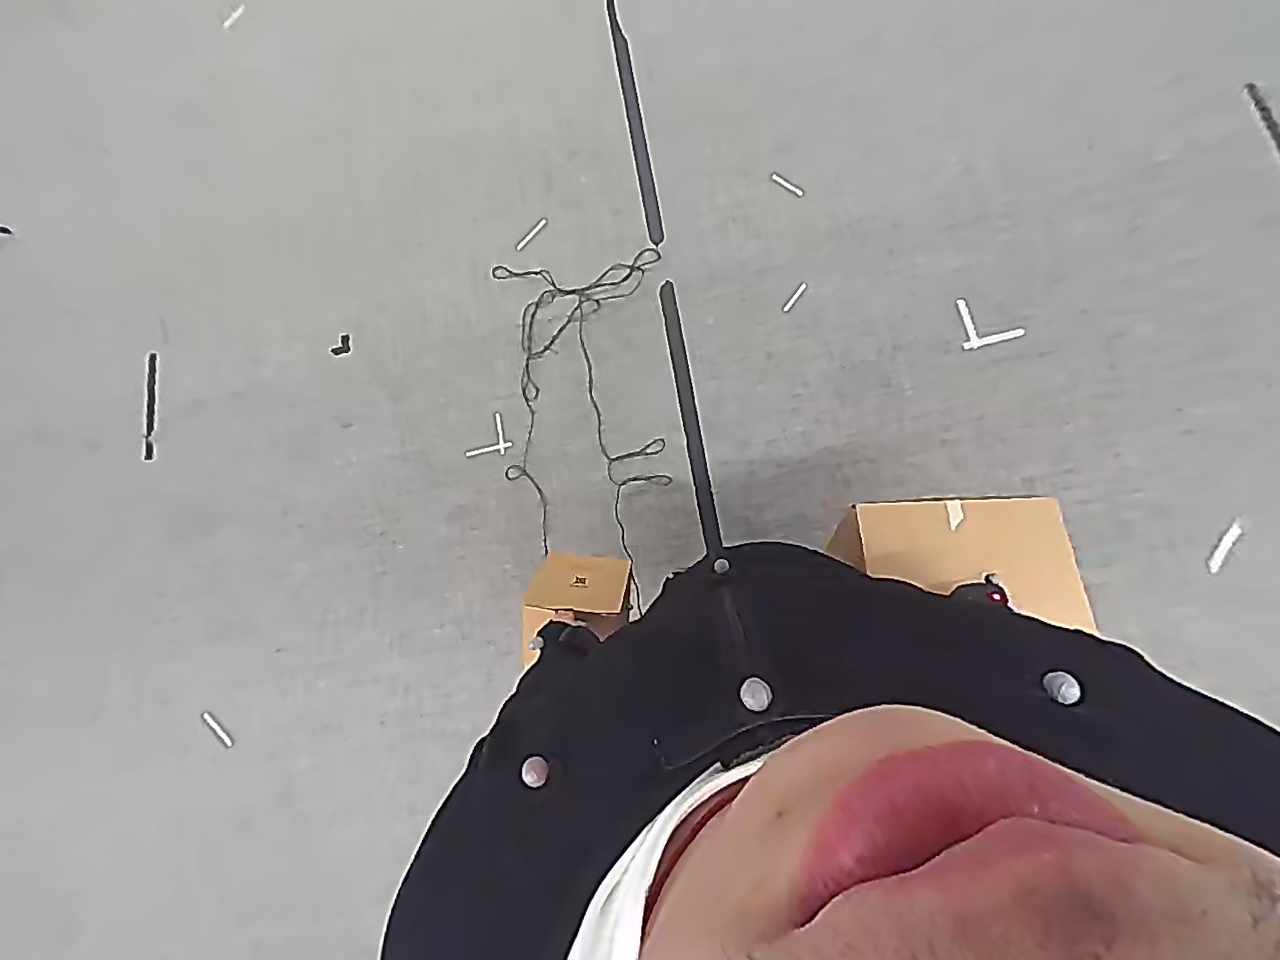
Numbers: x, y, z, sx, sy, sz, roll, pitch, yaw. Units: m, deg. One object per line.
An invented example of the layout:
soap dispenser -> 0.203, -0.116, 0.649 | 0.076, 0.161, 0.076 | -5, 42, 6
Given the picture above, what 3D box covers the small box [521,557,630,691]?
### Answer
small box -> -0.111, 0.261, 0.993 | 0.168, 0.179, 0.176 | 5, 111, 4
